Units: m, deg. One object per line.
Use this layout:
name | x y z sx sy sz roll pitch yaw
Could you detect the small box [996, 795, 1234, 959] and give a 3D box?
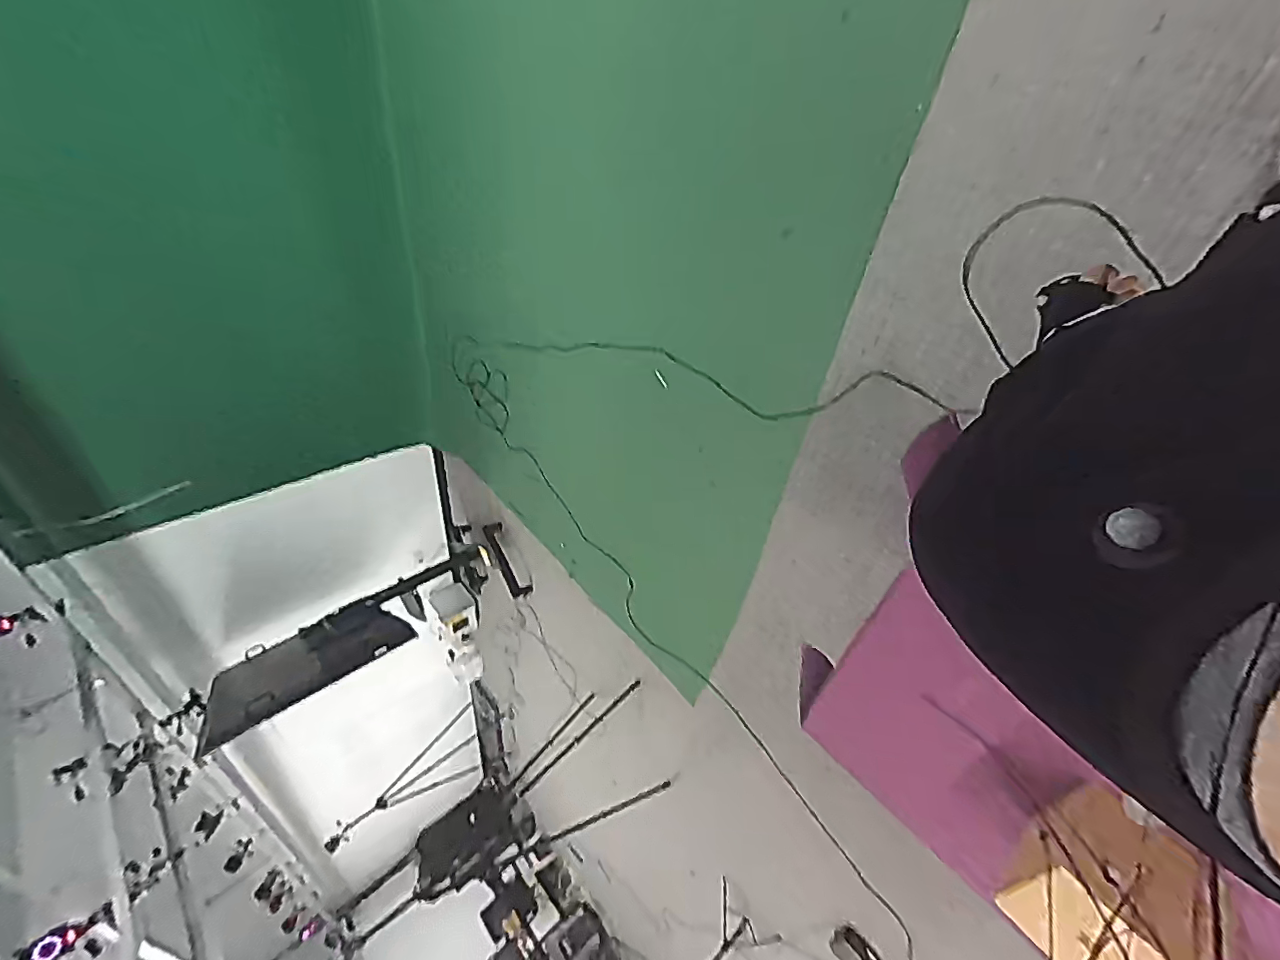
small box | 0.654 0.578 0.753 0.179 0.176 0.168 41 139 31
